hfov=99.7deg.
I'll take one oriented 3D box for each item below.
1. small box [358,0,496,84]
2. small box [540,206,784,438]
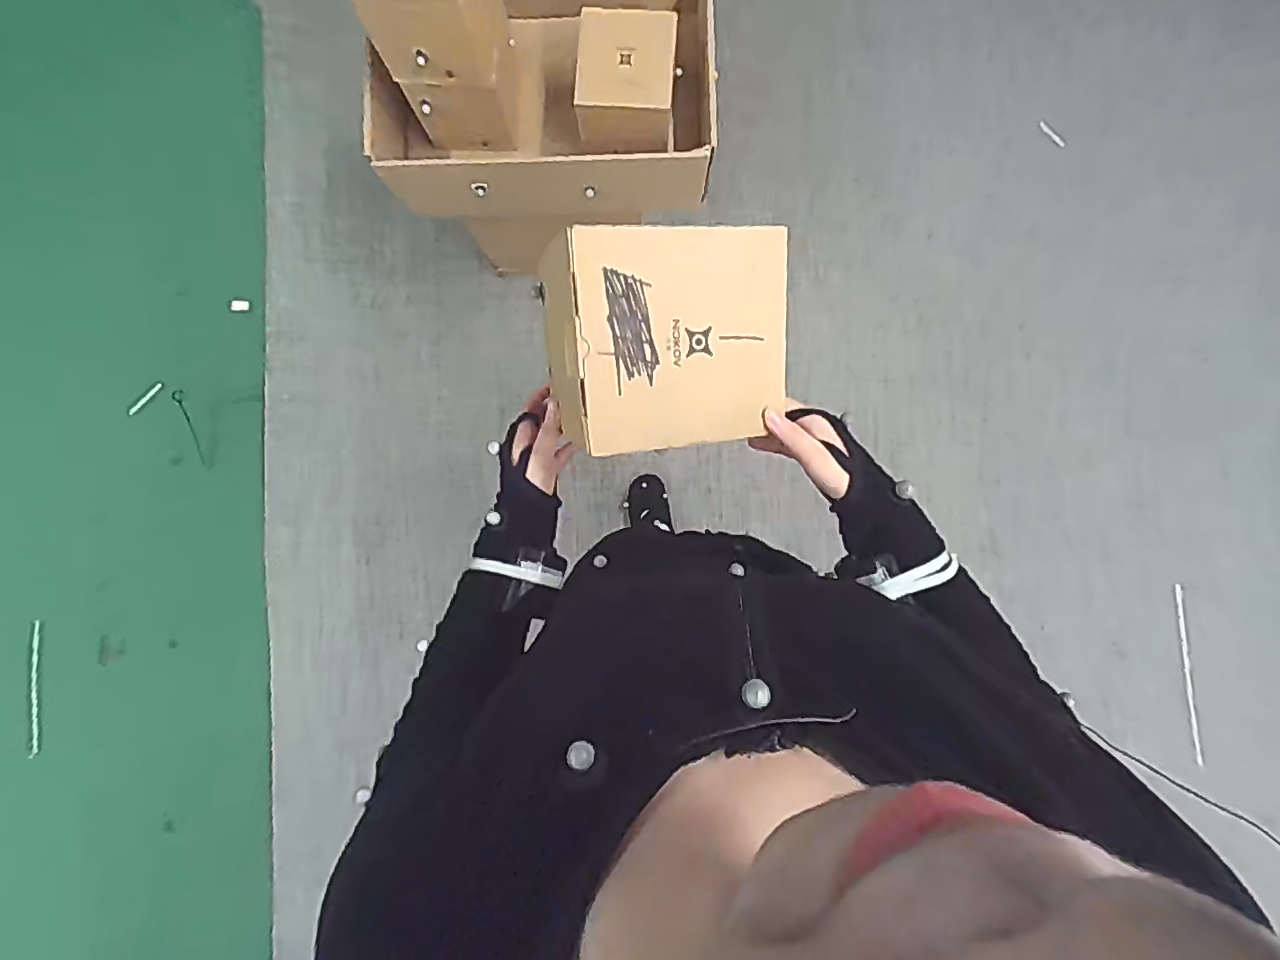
[{"bbox_3d":[-0.327,-0.761,0.831,0.168,0.176,0.179,4,87,1],"label":"small box"},{"bbox_3d":[0.008,-0.137,0.487,0.179,0.176,0.168,-8,107,-17],"label":"small box"}]
